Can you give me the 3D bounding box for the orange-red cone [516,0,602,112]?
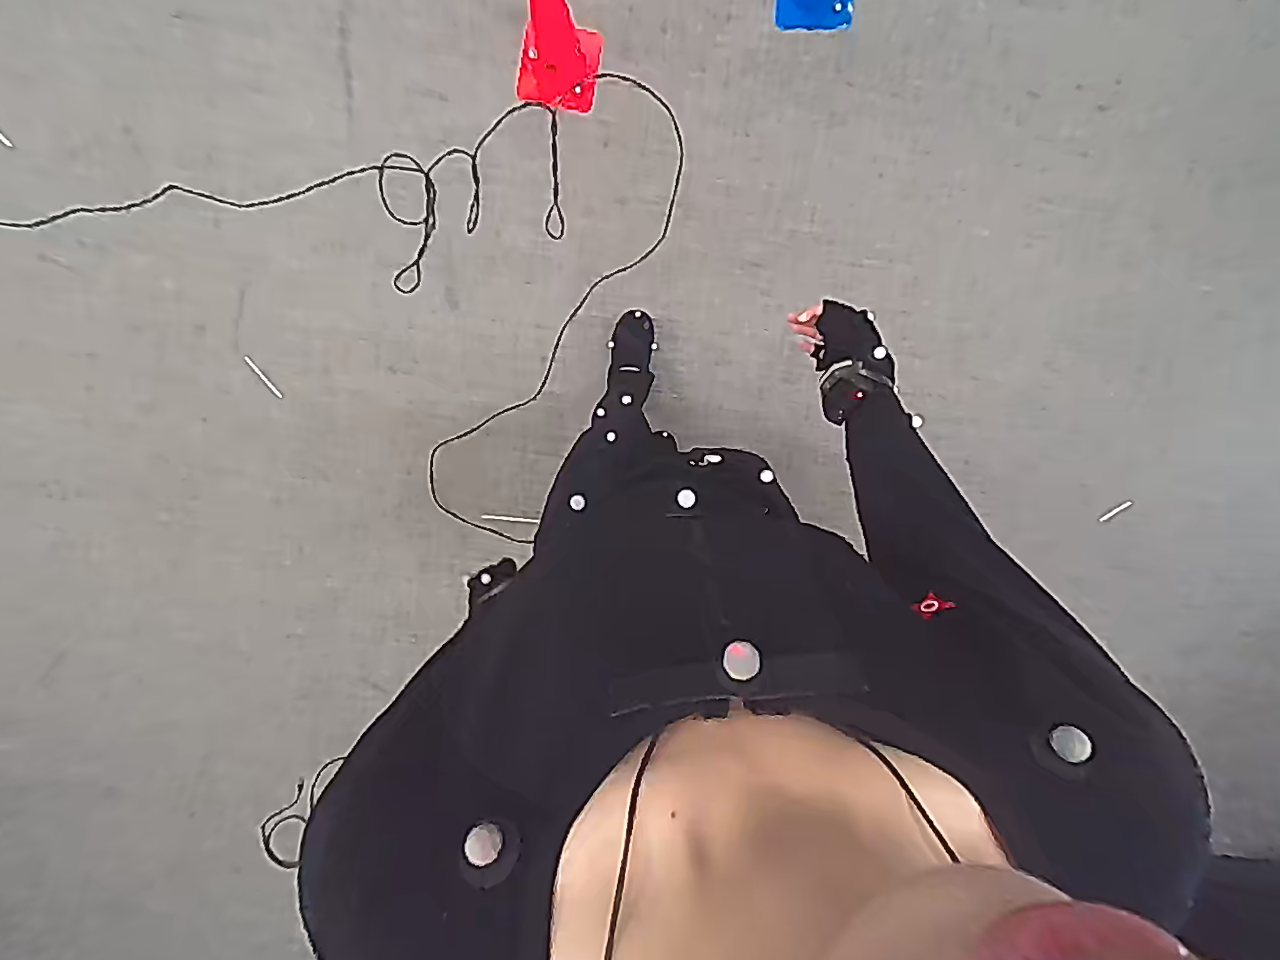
[{"bbox_3d":[-0.200,-1.044,1.206,0.198,0.360,0.199,11,94,-3],"label":"orange-red cone"}]
